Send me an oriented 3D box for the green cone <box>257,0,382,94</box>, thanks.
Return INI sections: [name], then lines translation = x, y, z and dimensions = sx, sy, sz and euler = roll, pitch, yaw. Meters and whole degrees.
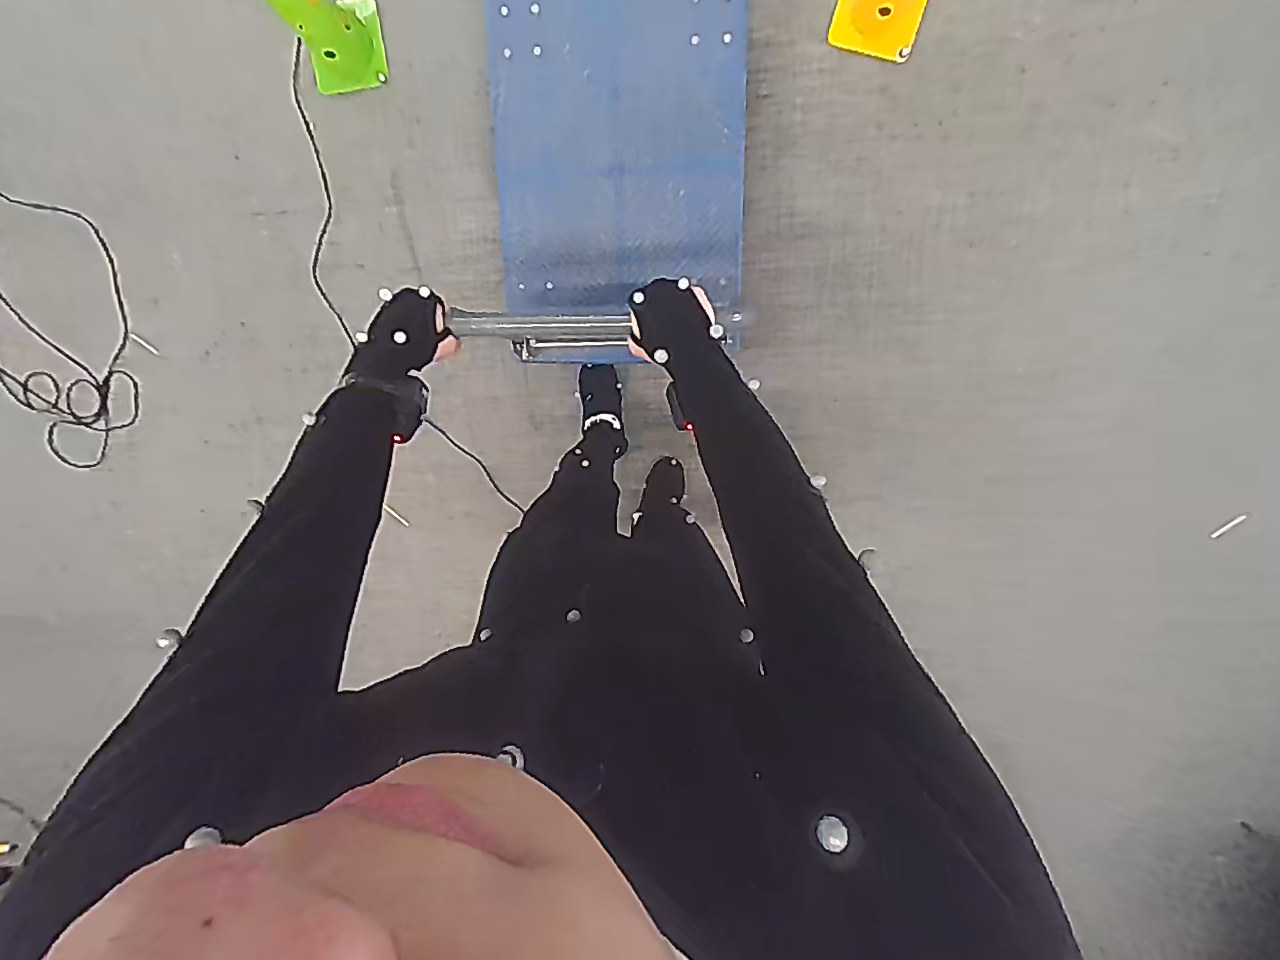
[green cone]
translation = -0.785, -1.071, 1.211
dimensions = 0.202, 0.368, 0.200
euler = -5, 103, 8
